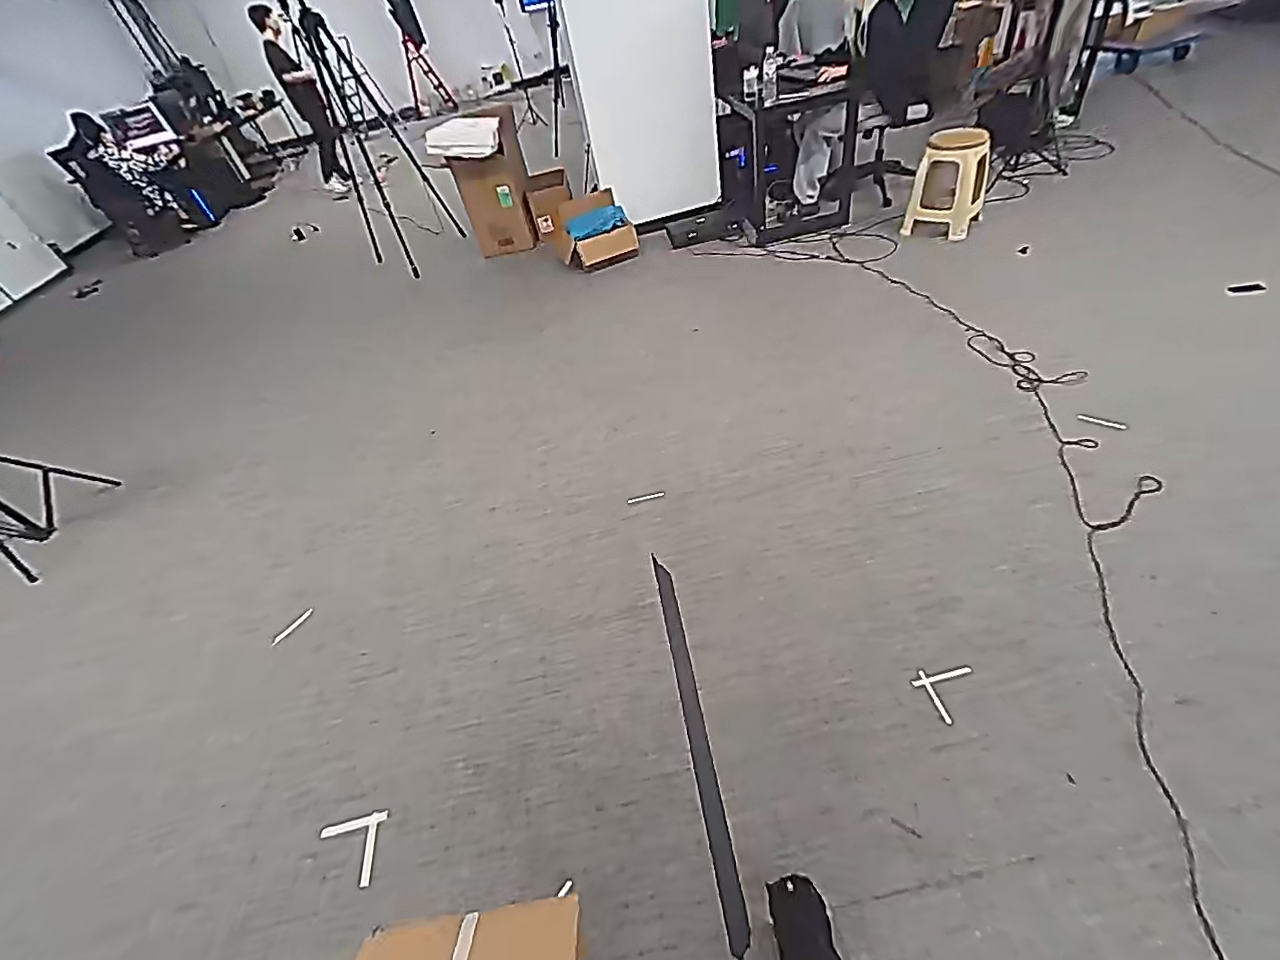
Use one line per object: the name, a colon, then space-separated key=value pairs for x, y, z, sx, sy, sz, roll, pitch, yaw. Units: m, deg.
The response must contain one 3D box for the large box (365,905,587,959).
large box: x=-0.205 y=0.813 z=0.608 sx=0.320 sy=0.320 sz=0.408 roll=-8 pitch=5 yaw=-2
